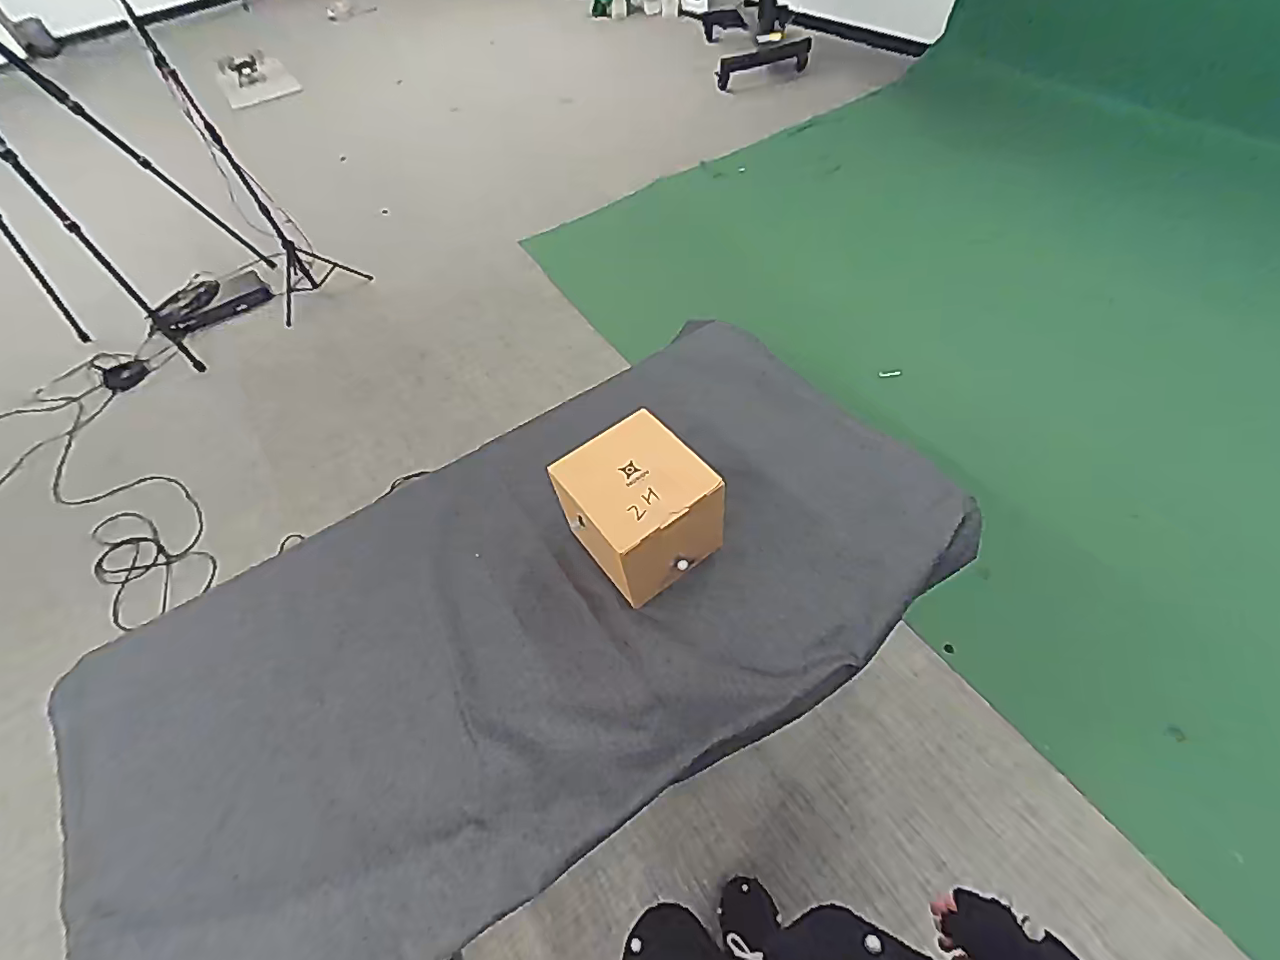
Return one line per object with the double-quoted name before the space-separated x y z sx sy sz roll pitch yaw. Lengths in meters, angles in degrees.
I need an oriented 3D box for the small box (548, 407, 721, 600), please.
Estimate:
"small box" -0.004 0.036 0.769 0.168 0.176 0.179 -33 58 -16
